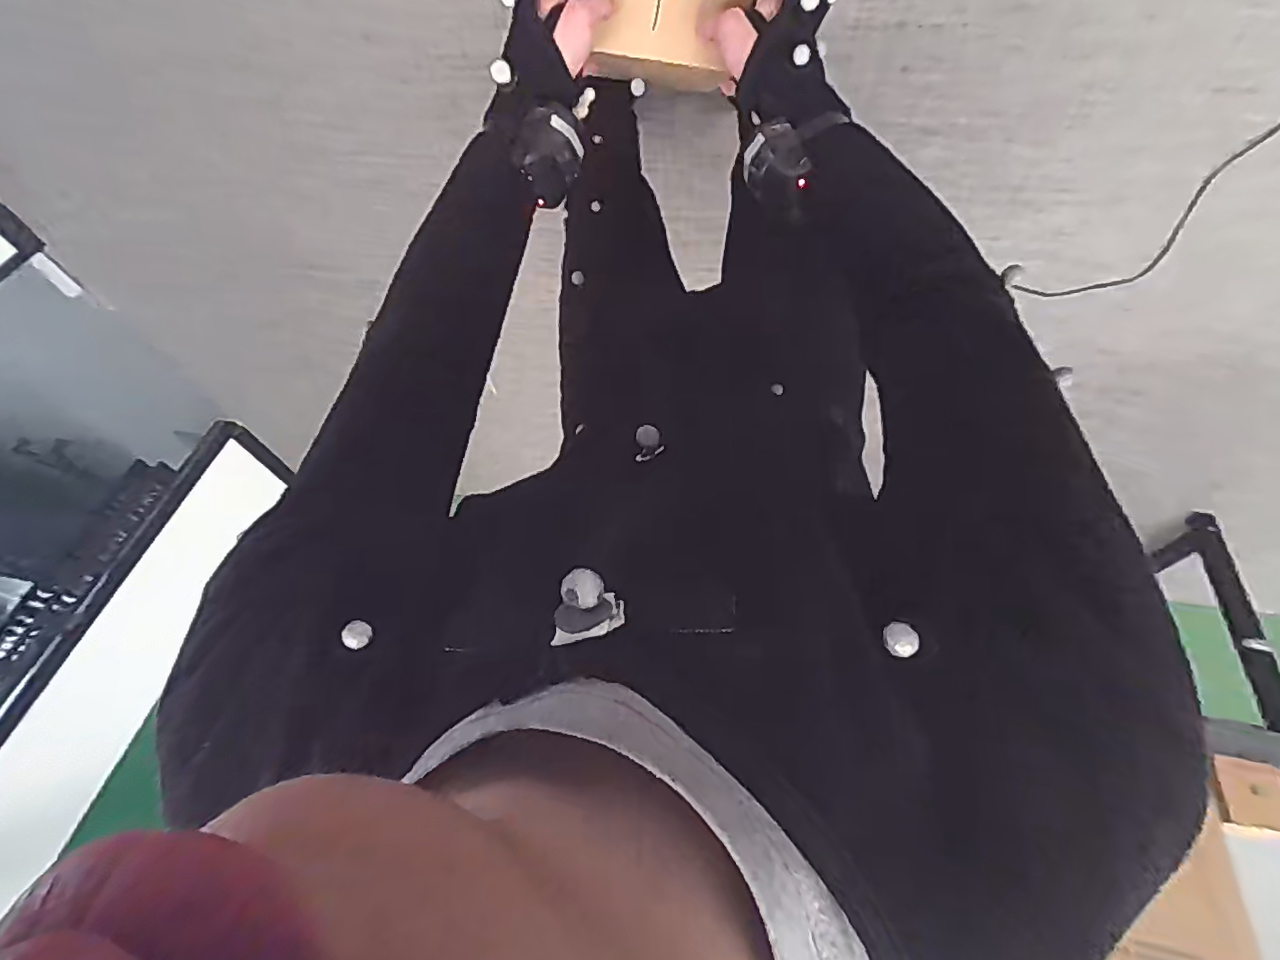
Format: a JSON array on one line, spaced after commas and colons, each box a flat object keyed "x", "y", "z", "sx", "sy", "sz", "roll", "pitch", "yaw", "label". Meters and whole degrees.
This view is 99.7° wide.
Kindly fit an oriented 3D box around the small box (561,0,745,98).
[{"x": 0.013, "y": -0.500, "z": 0.533, "sx": 0.168, "sy": 0.176, "sz": 0.179, "roll": 5, "pitch": 121, "yaw": -5, "label": "small box"}]
